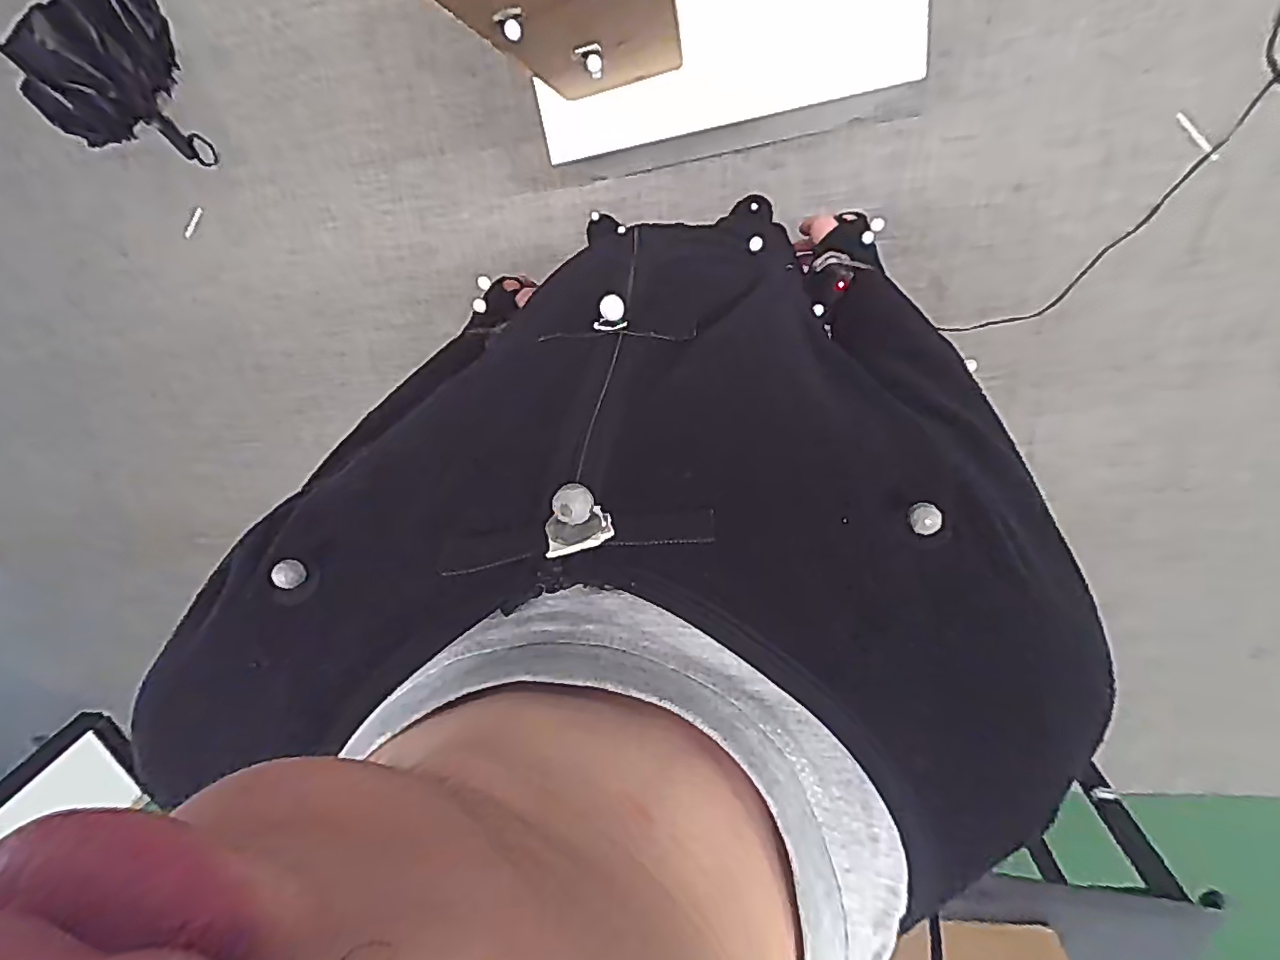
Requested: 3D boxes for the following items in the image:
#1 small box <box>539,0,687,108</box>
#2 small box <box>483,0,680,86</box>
[{"bbox_3d":[-0.041,-0.567,0.630,0.168,0.176,0.179,-9,115,12],"label":"small box"},{"bbox_3d":[-0.062,-0.494,0.485,0.168,0.176,0.179,-10,115,13],"label":"small box"}]
